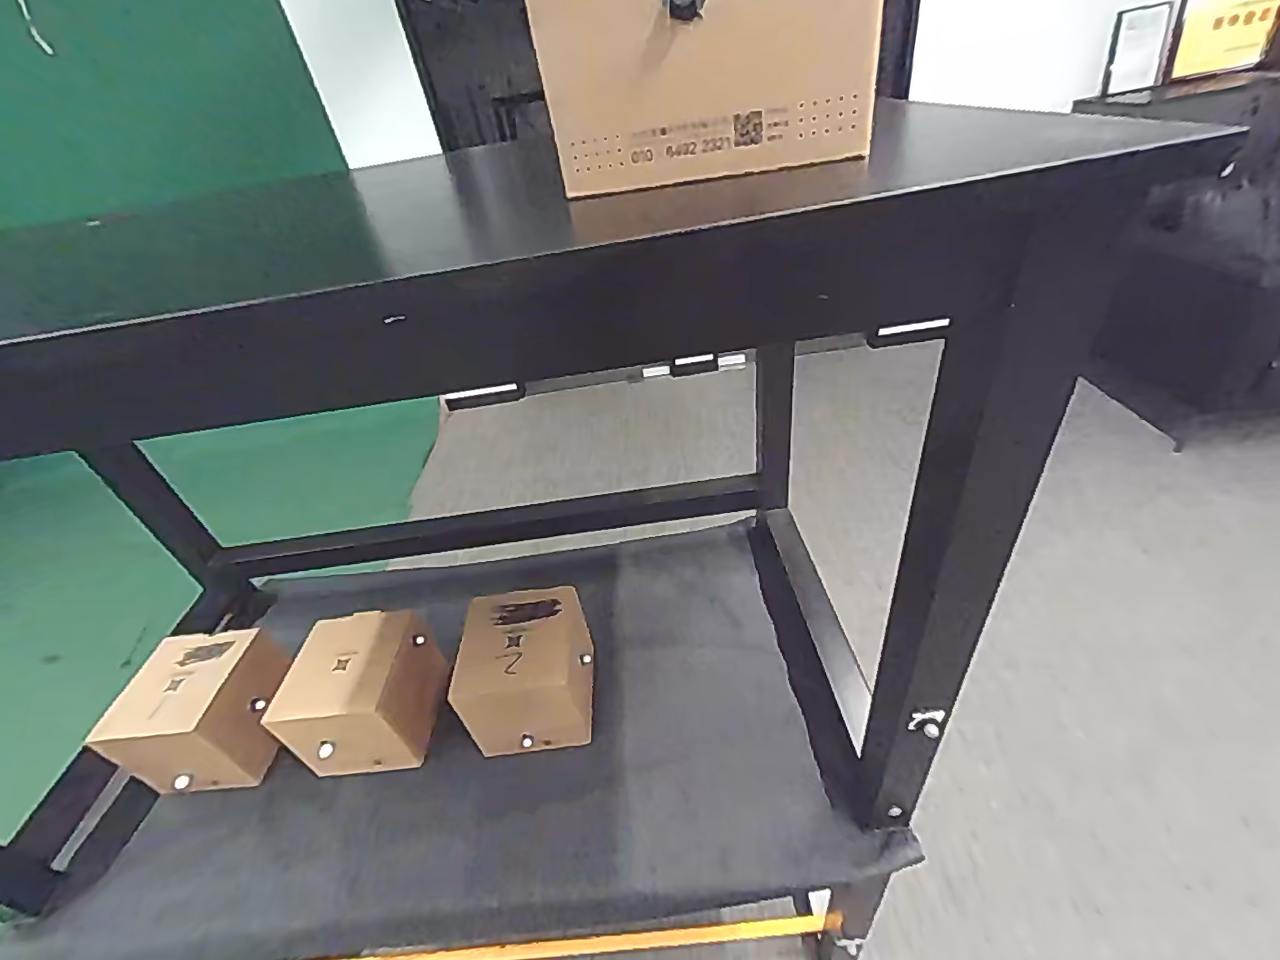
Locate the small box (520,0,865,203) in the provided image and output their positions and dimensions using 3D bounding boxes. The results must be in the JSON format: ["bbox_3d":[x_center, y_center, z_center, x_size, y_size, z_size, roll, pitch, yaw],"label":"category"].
[{"bbox_3d":[0.035,-0.273,0.317,0.168,0.176,0.179,-1,37,12],"label":"small box"}]

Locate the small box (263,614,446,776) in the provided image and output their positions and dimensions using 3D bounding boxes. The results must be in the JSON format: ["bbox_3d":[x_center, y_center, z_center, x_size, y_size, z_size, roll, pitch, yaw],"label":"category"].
[{"bbox_3d":[-0.425,0.340,0.844,0.168,0.176,0.179,-7,36,3],"label":"small box"}]

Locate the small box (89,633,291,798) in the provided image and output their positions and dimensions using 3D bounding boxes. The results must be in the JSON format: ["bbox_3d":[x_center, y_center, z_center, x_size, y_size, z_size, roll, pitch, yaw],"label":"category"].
[{"bbox_3d":[-0.676,0.371,0.856,0.168,0.176,0.179,-7,37,4],"label":"small box"}]
